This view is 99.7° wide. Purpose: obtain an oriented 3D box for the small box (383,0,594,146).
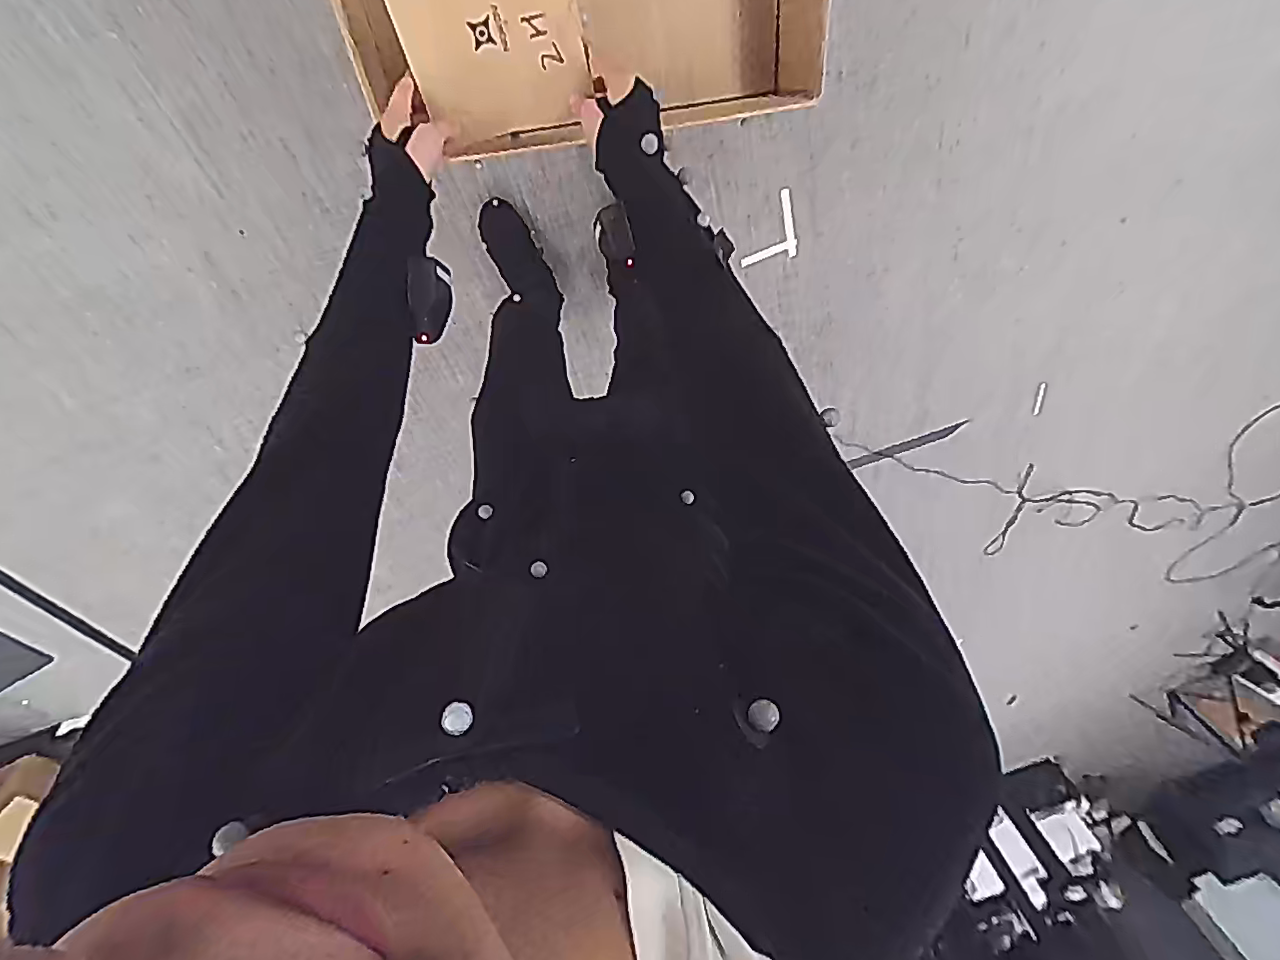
[{"bbox_3d":[-0.156,-0.482,0.587,0.179,0.176,0.168,-14,127,1],"label":"small box"}]
